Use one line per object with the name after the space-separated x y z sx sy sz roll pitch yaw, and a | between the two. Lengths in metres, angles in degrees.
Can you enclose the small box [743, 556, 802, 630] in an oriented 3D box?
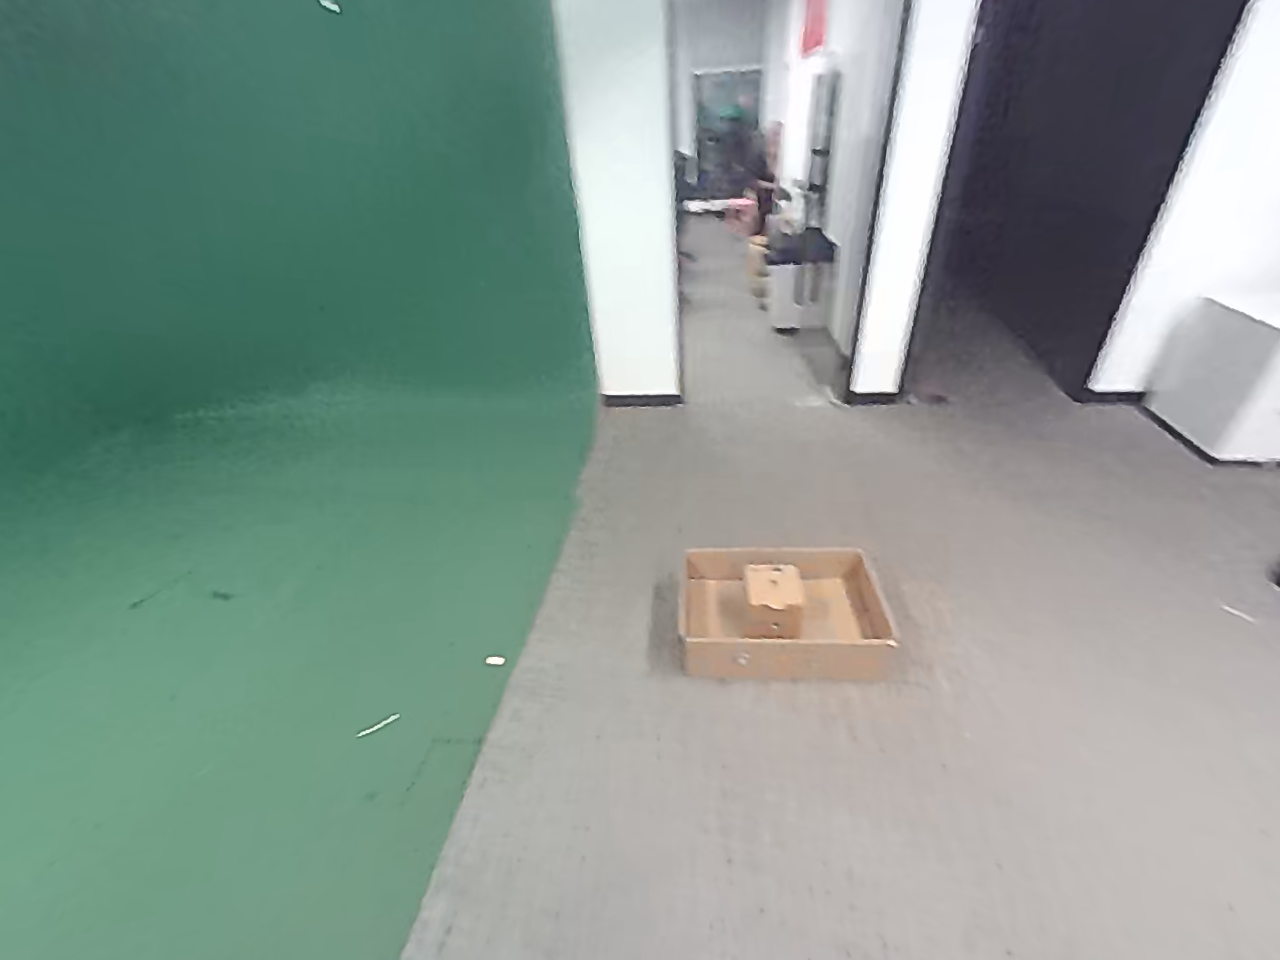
0.422 0.367 1.745 0.168 0.176 0.179 -1 35 6 | small box
